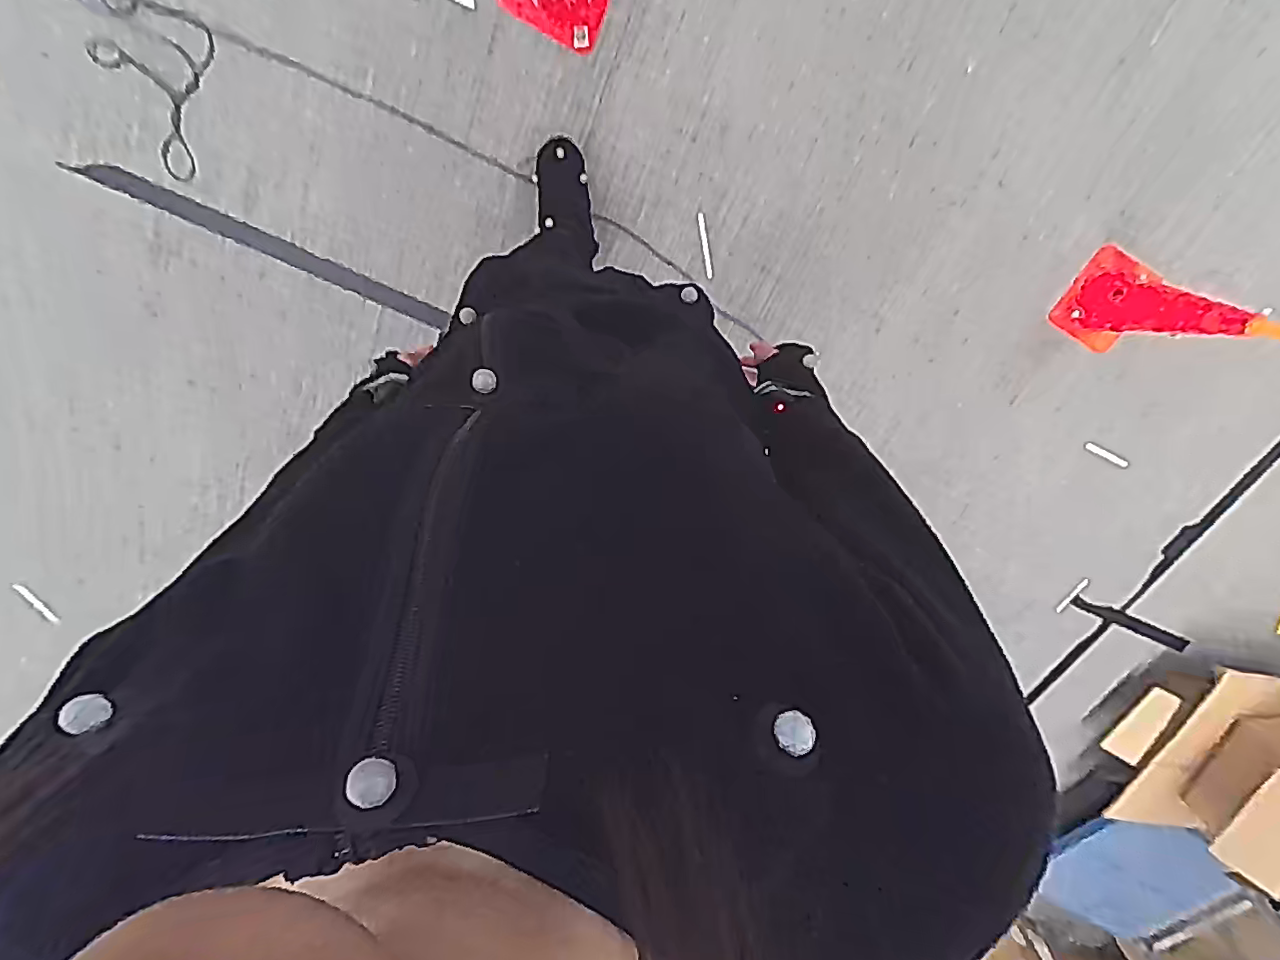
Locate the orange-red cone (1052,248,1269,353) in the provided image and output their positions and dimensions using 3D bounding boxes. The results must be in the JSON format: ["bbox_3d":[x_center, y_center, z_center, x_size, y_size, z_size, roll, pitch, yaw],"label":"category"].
[{"bbox_3d":[1.132,-0.353,1.150,0.199,0.360,0.198,25,113,-14],"label":"orange-red cone"}]
